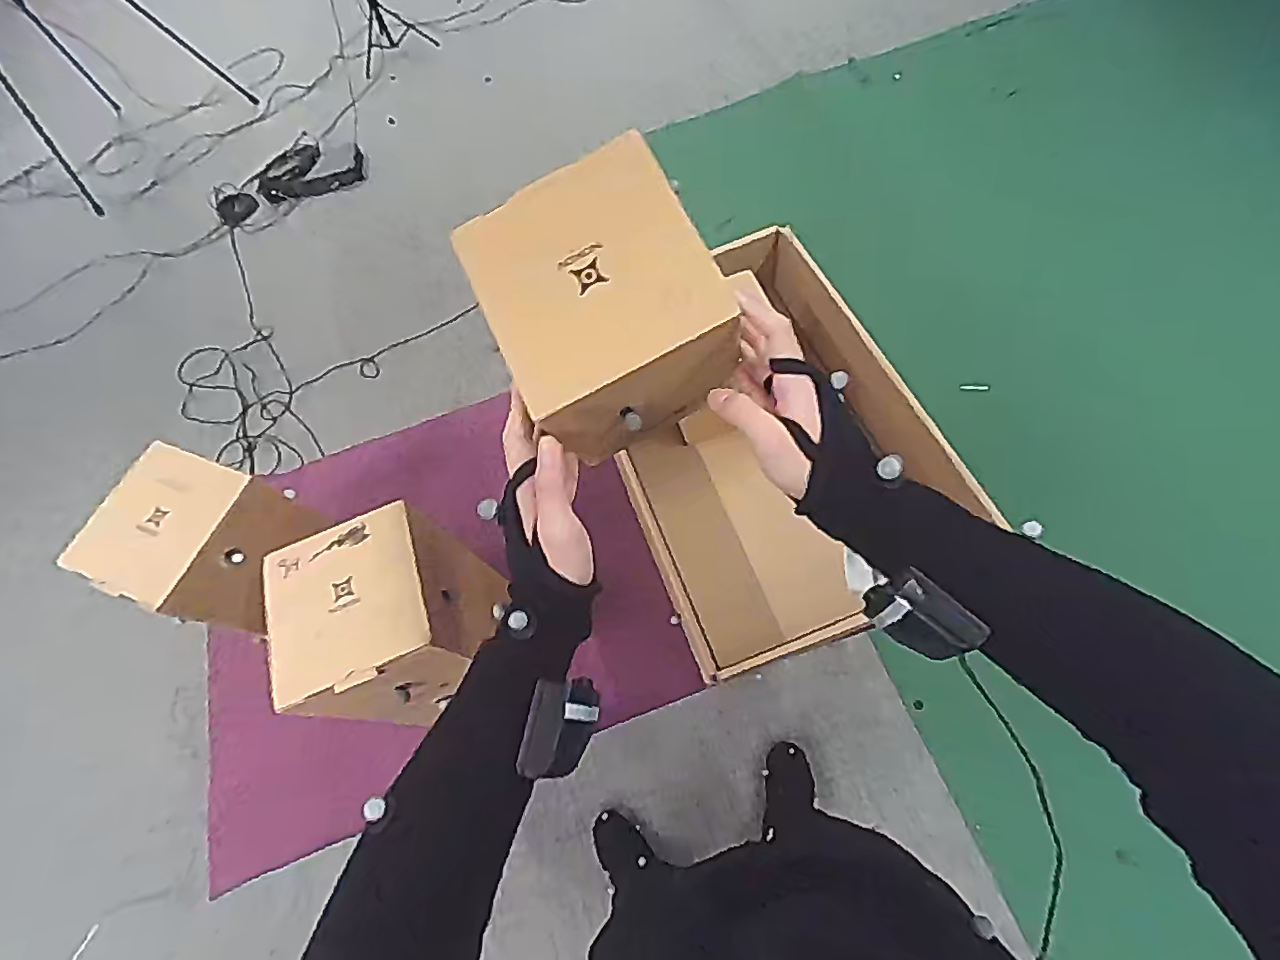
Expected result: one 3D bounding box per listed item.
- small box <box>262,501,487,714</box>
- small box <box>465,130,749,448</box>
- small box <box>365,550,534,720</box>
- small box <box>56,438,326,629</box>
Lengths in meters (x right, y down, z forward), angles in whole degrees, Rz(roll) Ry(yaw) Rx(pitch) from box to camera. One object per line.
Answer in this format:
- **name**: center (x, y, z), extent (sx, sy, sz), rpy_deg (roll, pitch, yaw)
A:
- **small box**: center (-0.298, 0.156, 0.631), extent (0.168, 0.176, 0.179), rpy_deg (-22, 64, -4)
- **small box**: center (-0.016, -0.141, 0.473), extent (0.168, 0.176, 0.179), rpy_deg (-26, 77, 4)
- **small box**: center (-0.275, 0.230, 0.775), extent (0.179, 0.176, 0.168), rpy_deg (-23, 64, -4)
- **small box**: center (-0.559, 0.077, 0.704), extent (0.168, 0.176, 0.179), rpy_deg (18, 69, 14)
